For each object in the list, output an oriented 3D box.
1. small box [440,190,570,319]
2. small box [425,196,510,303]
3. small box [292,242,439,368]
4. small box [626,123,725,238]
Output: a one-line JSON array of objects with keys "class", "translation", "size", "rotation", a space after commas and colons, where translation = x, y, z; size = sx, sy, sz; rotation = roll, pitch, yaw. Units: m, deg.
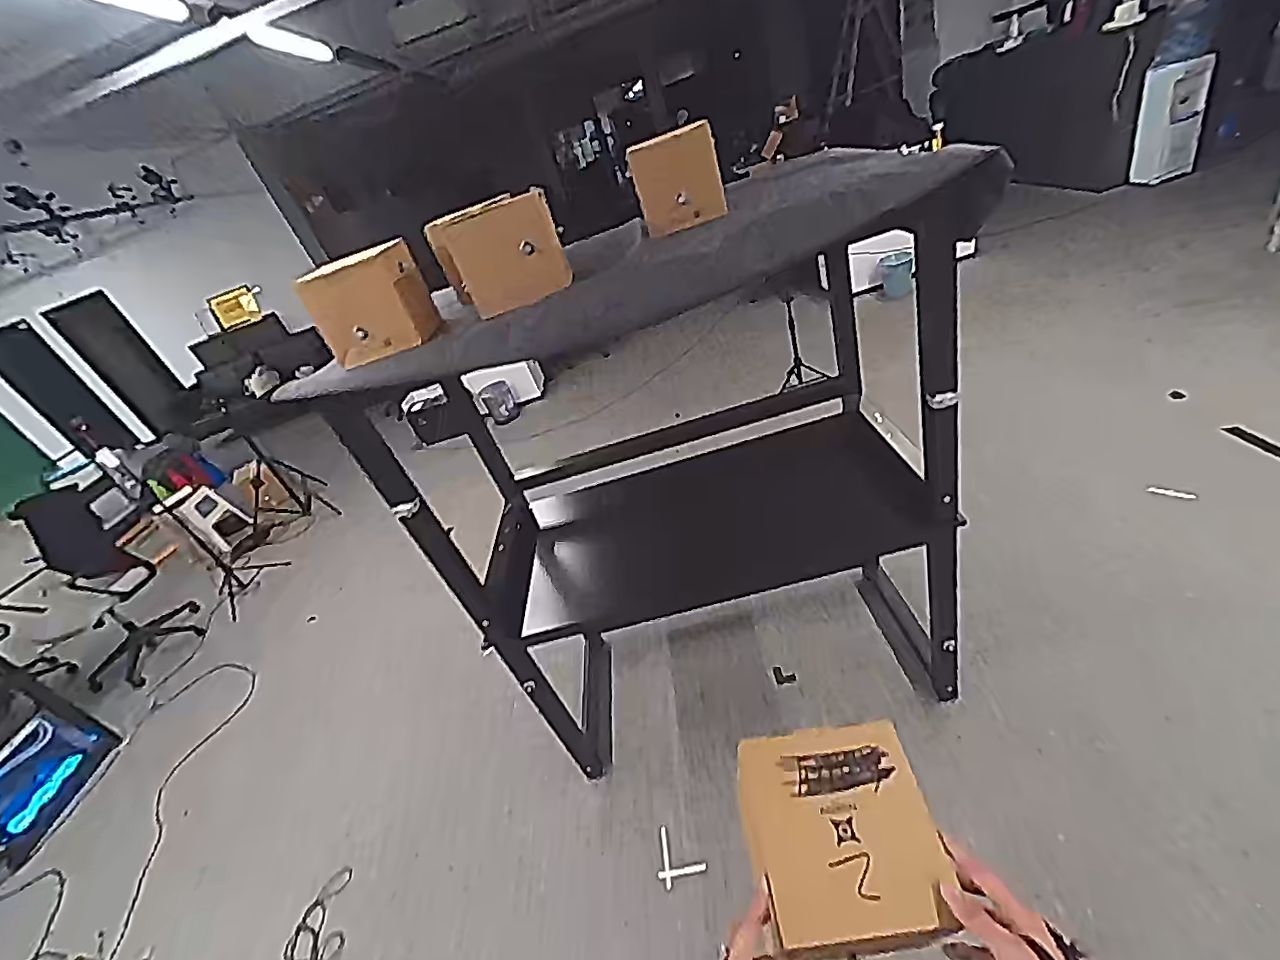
[{"class": "small box", "translation": [-0.240, -0.424, 1.017], "size": [0.179, 0.176, 0.168], "rotation": [-17, 30, 5]}, {"class": "small box", "translation": [-0.348, -0.516, 1.218], "size": [0.168, 0.176, 0.179], "rotation": [-16, 32, 8]}, {"class": "small box", "translation": [-0.509, -0.336, 1.038], "size": [0.168, 0.176, 0.179], "rotation": [-18, 32, 4]}, {"class": "small box", "translation": [0.075, -0.631, 1.146], "size": [0.168, 0.176, 0.179], "rotation": [-15, 32, 10]}]
